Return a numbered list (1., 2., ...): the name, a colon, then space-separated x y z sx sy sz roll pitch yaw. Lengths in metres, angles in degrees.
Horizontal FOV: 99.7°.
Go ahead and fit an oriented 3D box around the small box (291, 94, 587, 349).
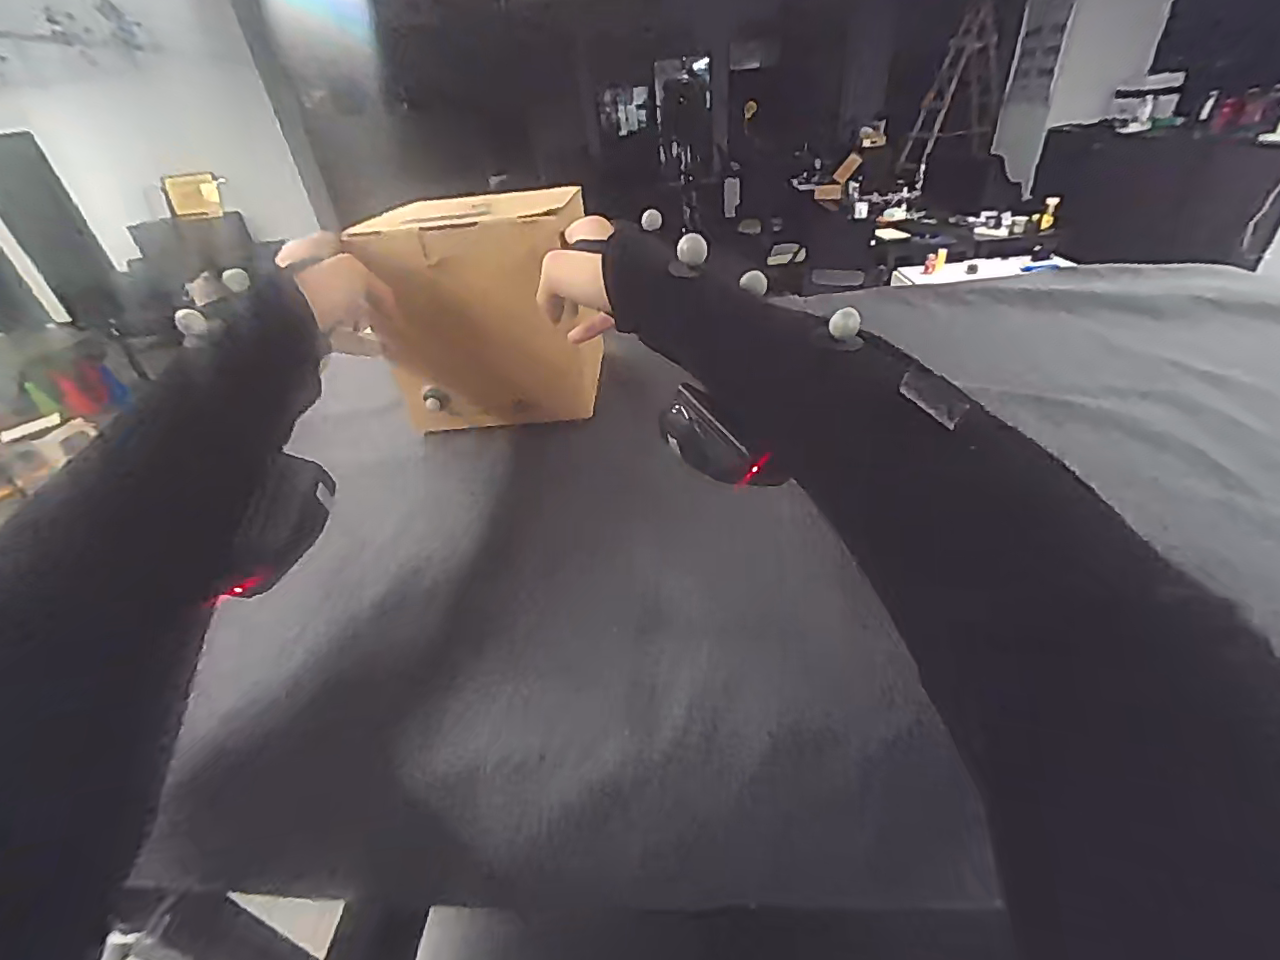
1. small box: -0.142 -0.218 0.464 0.168 0.176 0.179 -3 34 3
